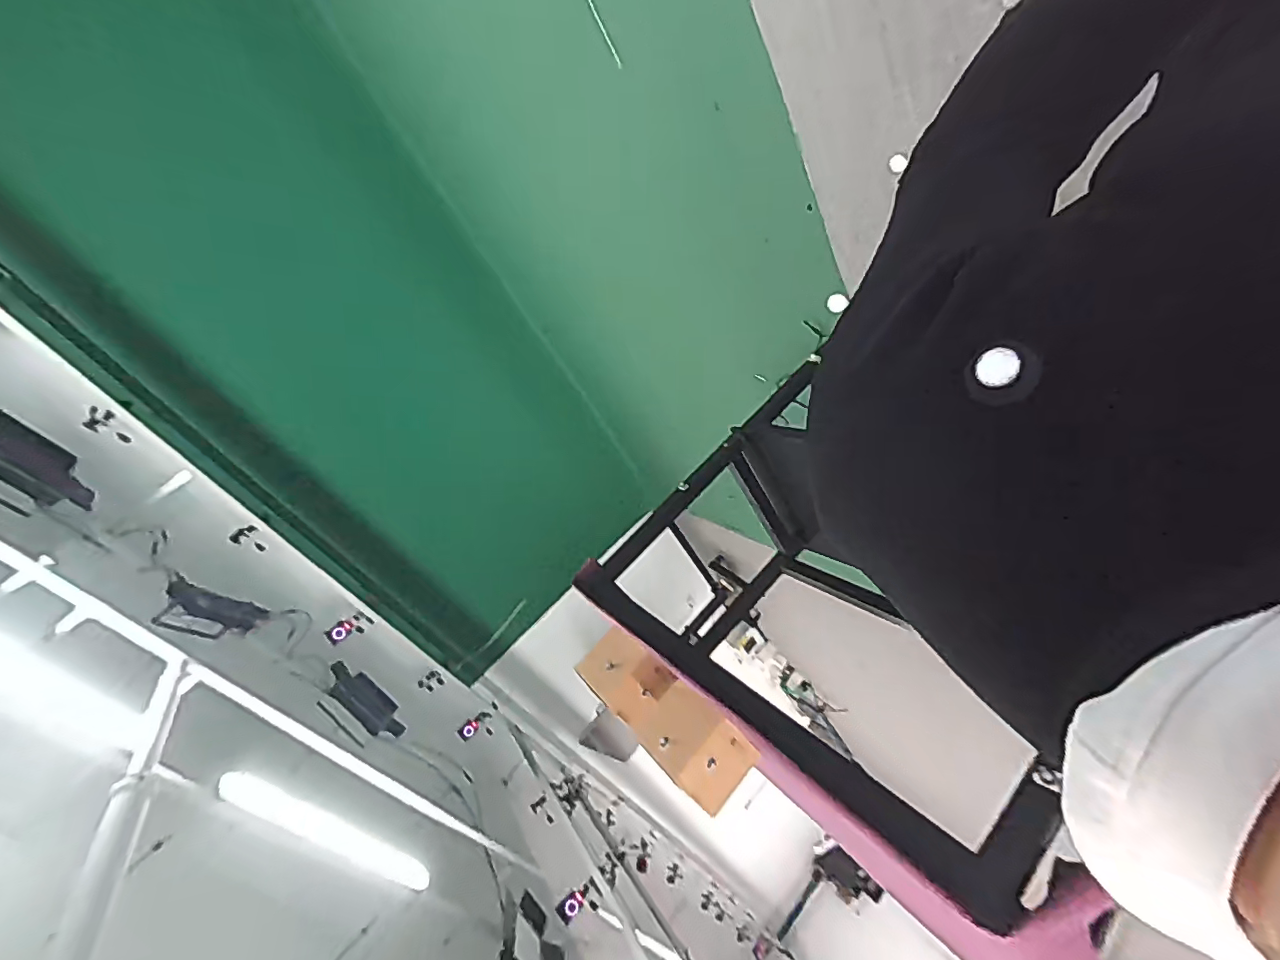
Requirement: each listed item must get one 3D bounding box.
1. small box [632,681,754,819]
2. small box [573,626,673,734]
[{"bbox_3d":[0.121,0.571,1.167,0.168,0.176,0.179,54,162,-27],"label":"small box"},{"bbox_3d":[-0.036,0.511,1.401,0.179,0.176,0.168,17,146,56],"label":"small box"}]
